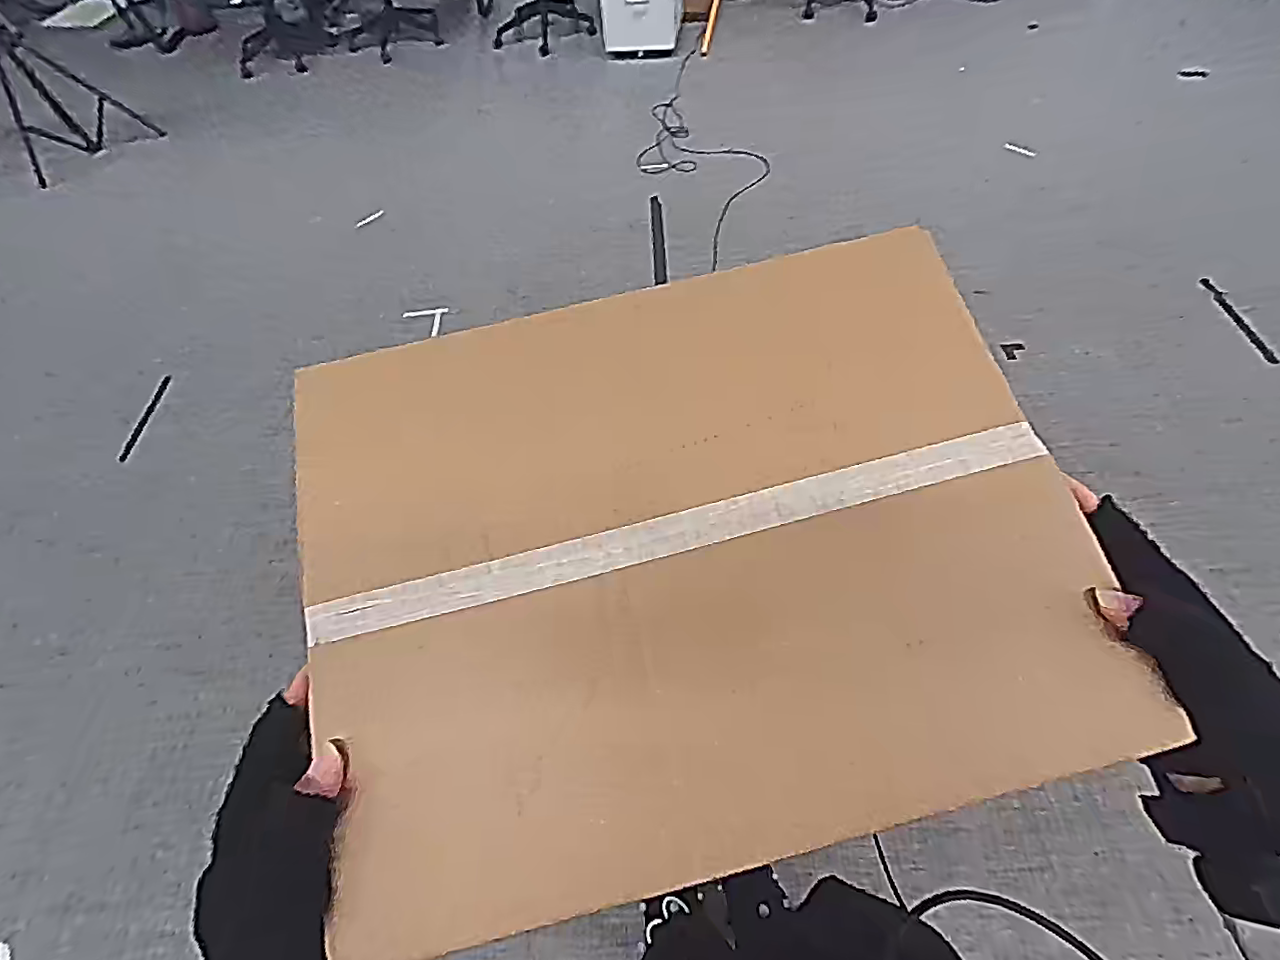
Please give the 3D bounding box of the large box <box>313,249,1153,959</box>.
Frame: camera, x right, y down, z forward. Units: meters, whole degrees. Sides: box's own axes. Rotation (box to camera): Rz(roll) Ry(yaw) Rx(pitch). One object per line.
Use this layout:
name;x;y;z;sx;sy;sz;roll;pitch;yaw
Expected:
large box;0.032;0.082;0.441;0.408;0.320;0.320;-14;71;-2
